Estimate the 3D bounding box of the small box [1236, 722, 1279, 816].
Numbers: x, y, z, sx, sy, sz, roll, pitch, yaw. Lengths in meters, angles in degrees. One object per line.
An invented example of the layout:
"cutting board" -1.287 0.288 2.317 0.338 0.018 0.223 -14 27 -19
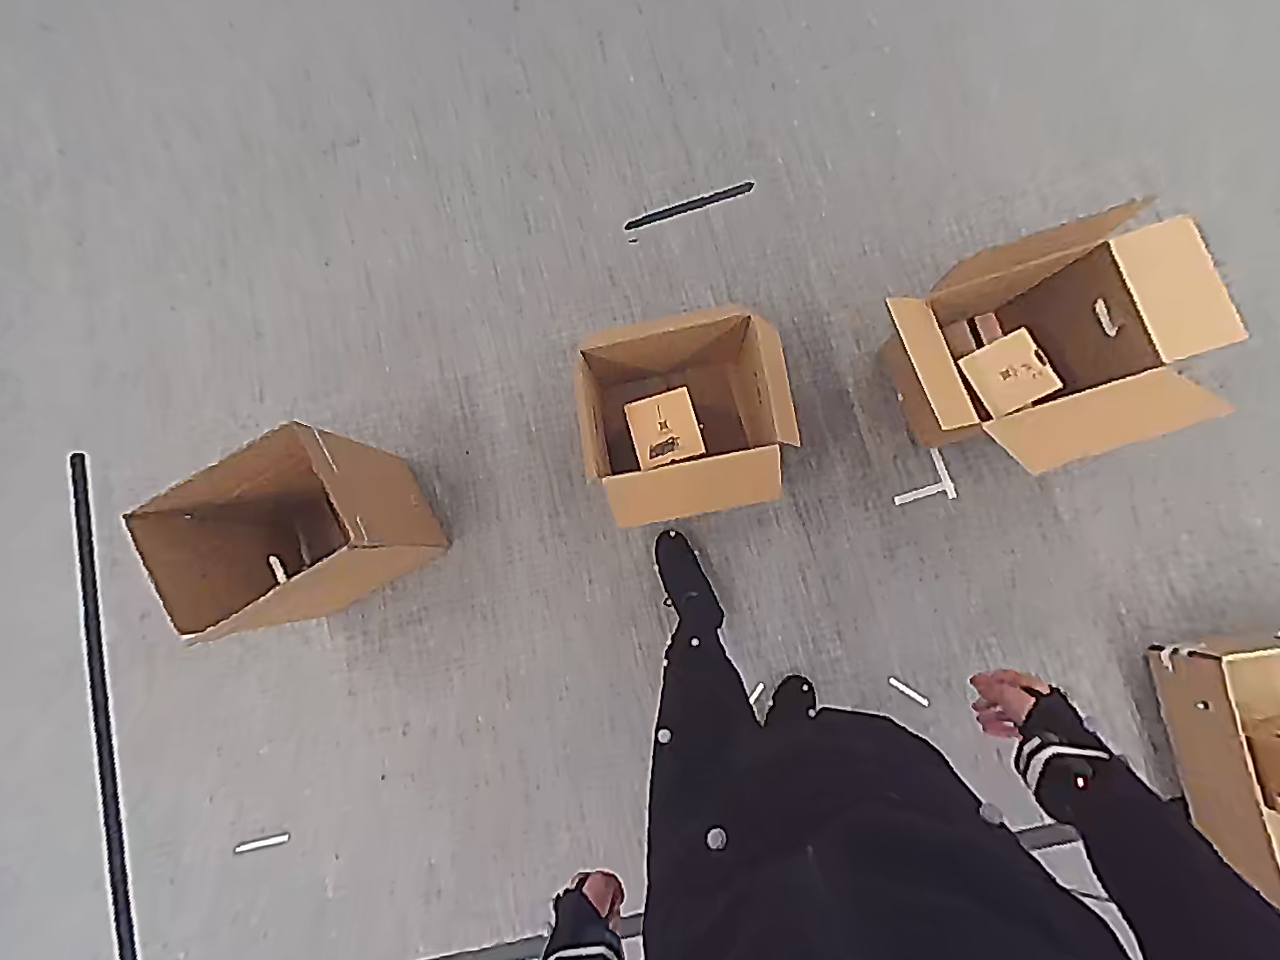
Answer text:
"small box" 1.434 0.626 1.140 0.179 0.176 0.168 -15 82 3
